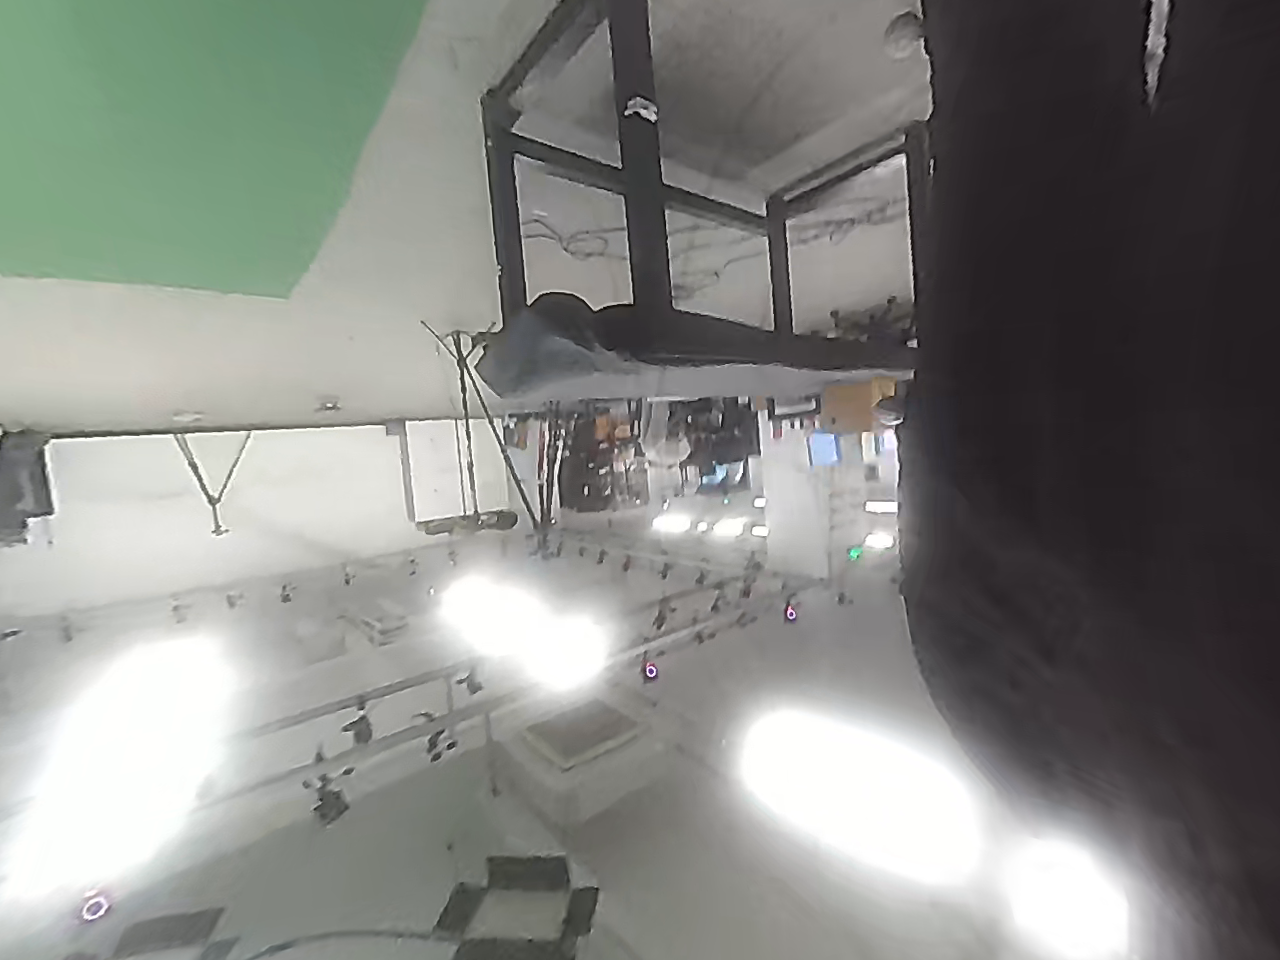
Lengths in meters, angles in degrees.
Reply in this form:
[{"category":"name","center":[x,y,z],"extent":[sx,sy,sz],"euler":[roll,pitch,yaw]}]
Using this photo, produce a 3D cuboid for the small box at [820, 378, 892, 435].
[{"category":"small box","center":[0.714,-0.239,1.785],"extent":[0.168,0.176,0.179],"euler":[-7,-175,-41]}]
